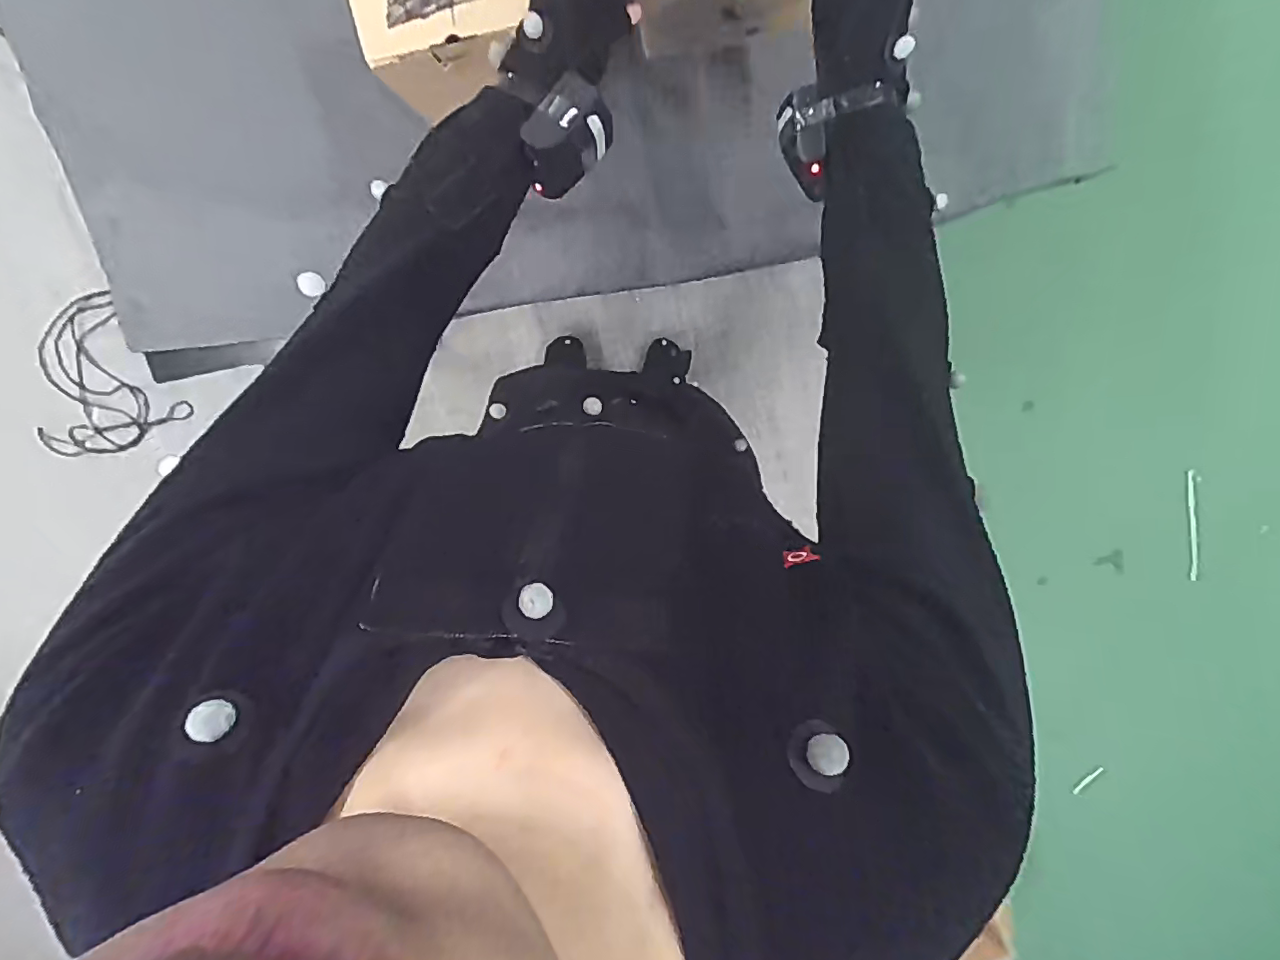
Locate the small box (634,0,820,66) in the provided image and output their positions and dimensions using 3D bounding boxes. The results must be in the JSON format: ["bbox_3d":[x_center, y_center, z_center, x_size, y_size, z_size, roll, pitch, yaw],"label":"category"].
[{"bbox_3d":[0.069,-0.491,0.446,0.168,0.176,0.179,-4,104,7],"label":"small box"}]

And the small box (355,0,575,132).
[{"bbox_3d":[-0.170,-0.478,0.540,0.168,0.176,0.179,-8,102,5],"label":"small box"}]
